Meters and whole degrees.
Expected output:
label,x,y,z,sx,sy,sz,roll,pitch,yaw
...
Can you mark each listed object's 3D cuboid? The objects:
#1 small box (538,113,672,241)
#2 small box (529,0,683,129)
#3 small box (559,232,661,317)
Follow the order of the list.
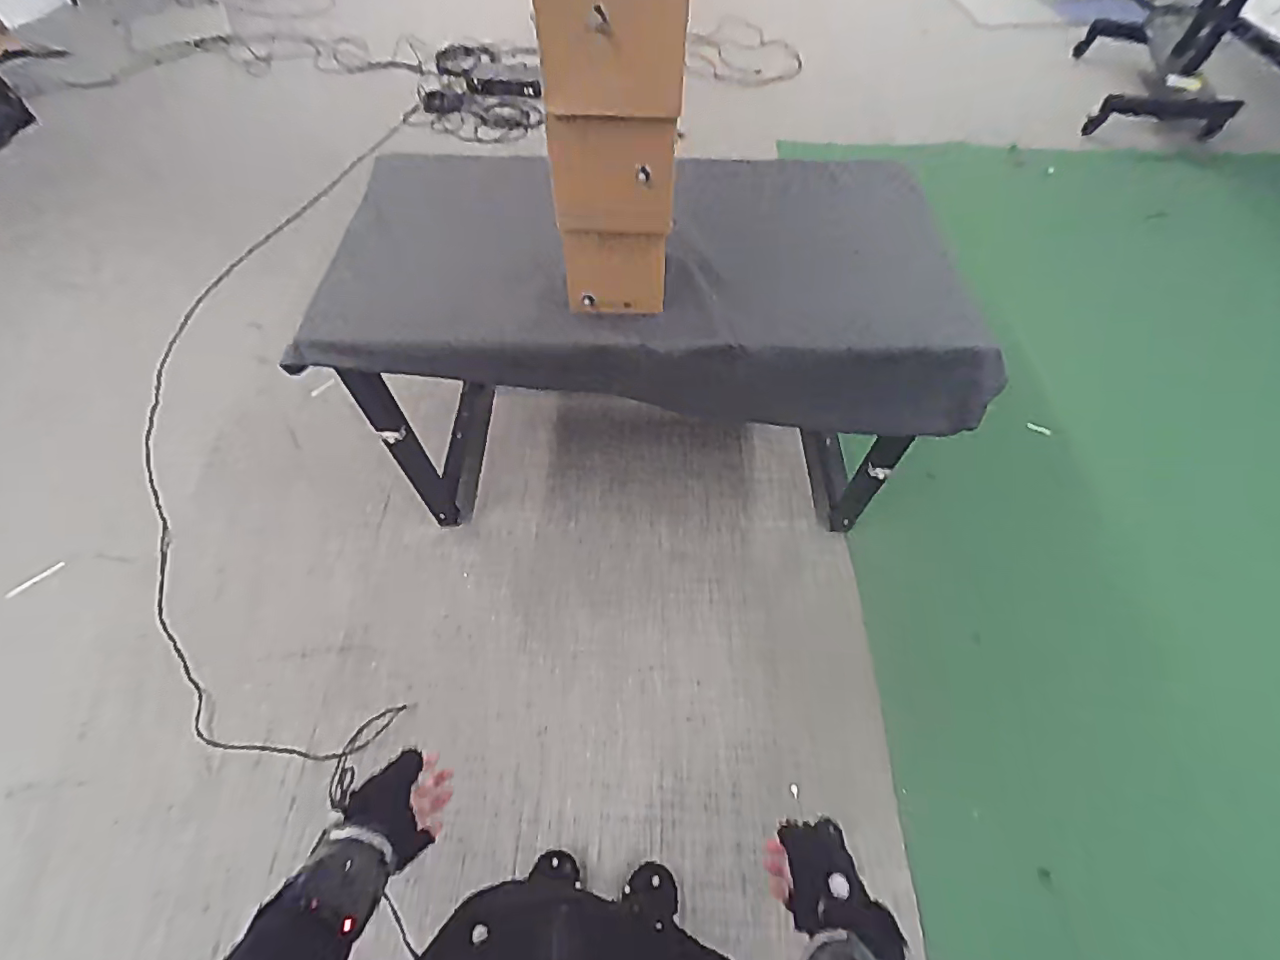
label,x,y,z,sx,sy,sz,roll,pitch,yaw
small box,-0.042,-0.482,0.817,0.179,0.176,0.168,2,55,3
small box,-0.040,-0.564,0.678,0.179,0.176,0.168,-1,54,-2
small box,-0.047,-0.406,0.961,0.168,0.176,0.179,-2,58,-1
